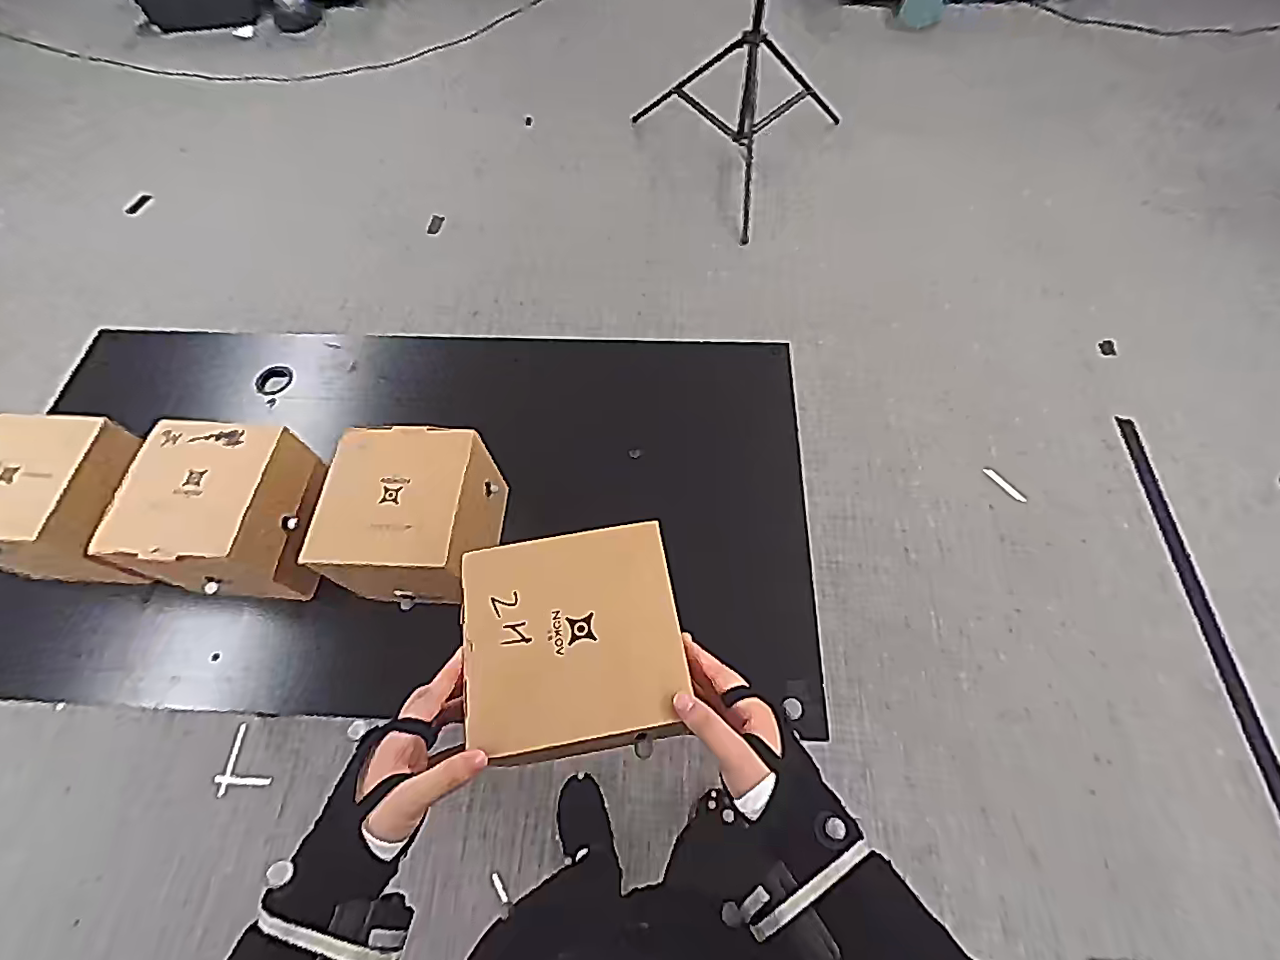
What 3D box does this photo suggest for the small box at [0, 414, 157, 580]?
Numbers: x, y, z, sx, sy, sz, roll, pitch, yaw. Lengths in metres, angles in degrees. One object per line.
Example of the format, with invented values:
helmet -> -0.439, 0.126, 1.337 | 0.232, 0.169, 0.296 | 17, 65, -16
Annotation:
small box -> -0.746, 0.029, 0.715 | 0.179, 0.176, 0.168 | 3, 64, 2

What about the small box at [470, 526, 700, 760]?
small box -> -0.050, 0.160, 0.513 | 0.179, 0.176, 0.168 | -9, 62, -3

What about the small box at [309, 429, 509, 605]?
small box -> -0.276, 0.052, 0.695 | 0.168, 0.176, 0.179 | 0, 64, 3

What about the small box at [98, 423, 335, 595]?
small box -> -0.514, 0.045, 0.703 | 0.168, 0.176, 0.179 | 3, 64, 1
